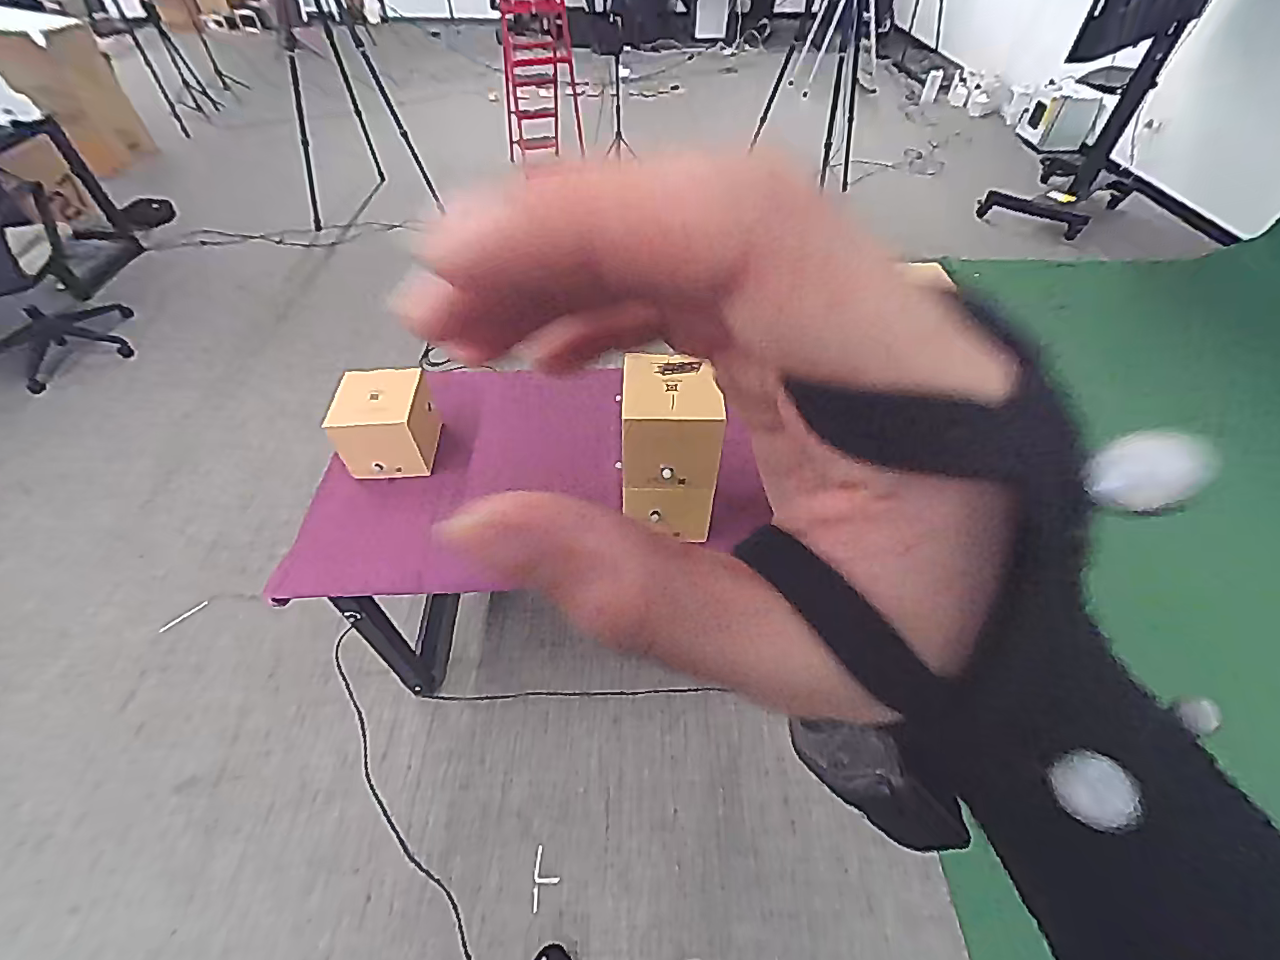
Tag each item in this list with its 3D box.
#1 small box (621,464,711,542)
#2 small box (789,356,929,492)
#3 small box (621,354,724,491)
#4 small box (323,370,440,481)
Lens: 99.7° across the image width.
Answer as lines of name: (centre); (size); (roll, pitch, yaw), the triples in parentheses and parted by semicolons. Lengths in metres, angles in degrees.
small box: (0.050, 0.010, 1.075); (0.168, 0.176, 0.179); (0, 48, 0)
small box: (0.369, -0.100, 0.950); (0.168, 0.176, 0.179); (0, 48, 2)
small box: (0.052, -0.101, 0.955); (0.168, 0.176, 0.179); (0, 49, 1)
small box: (-0.550, -0.119, 1.182); (0.168, 0.176, 0.179); (-4, 50, -3)
